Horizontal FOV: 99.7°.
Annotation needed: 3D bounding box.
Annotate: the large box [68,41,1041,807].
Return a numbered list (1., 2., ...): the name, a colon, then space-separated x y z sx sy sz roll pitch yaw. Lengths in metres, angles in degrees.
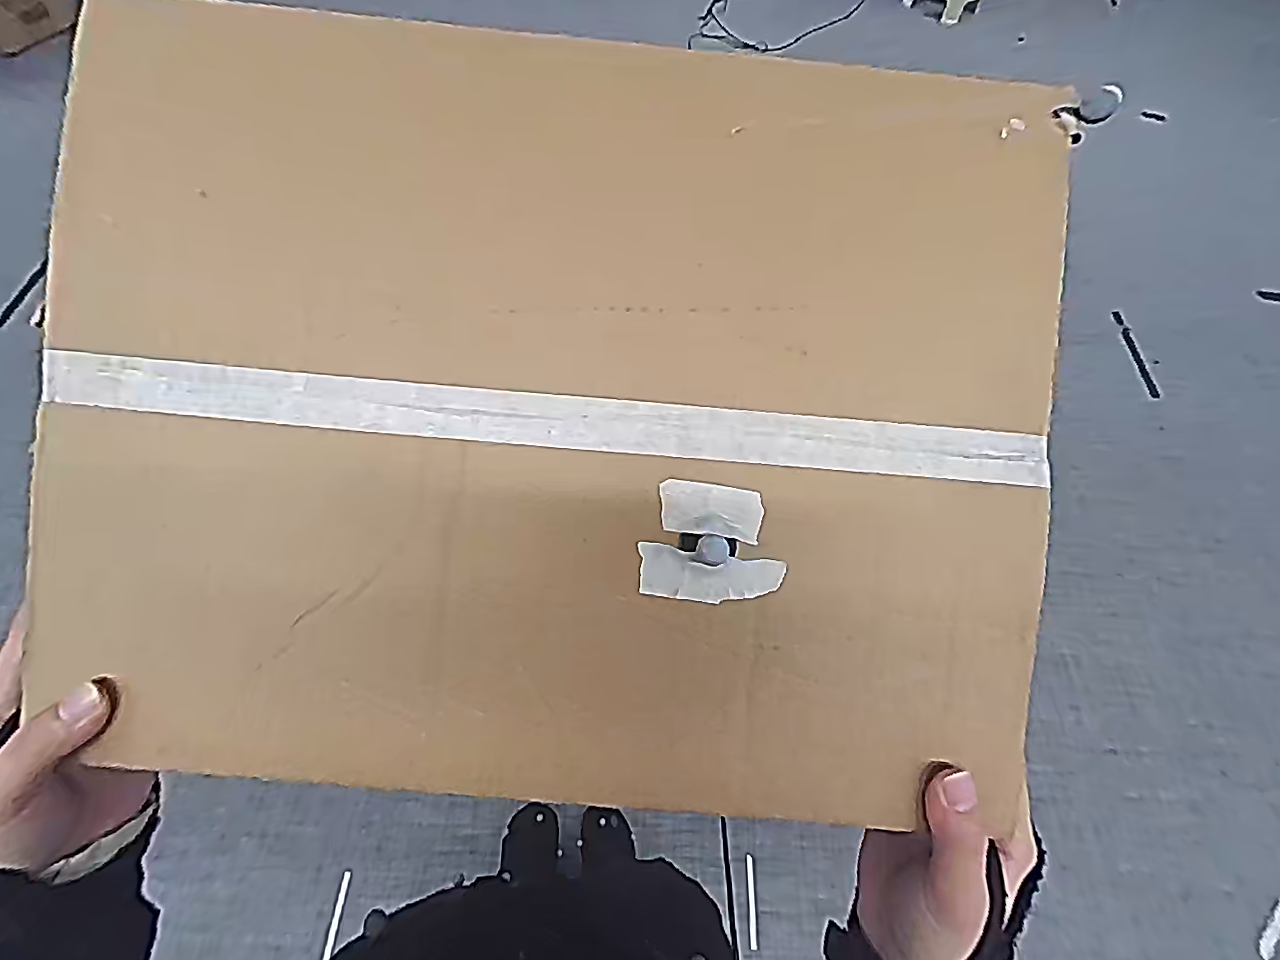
1. large box: -0.035 -0.020 0.381 0.408 0.320 0.320 5 90 -2
